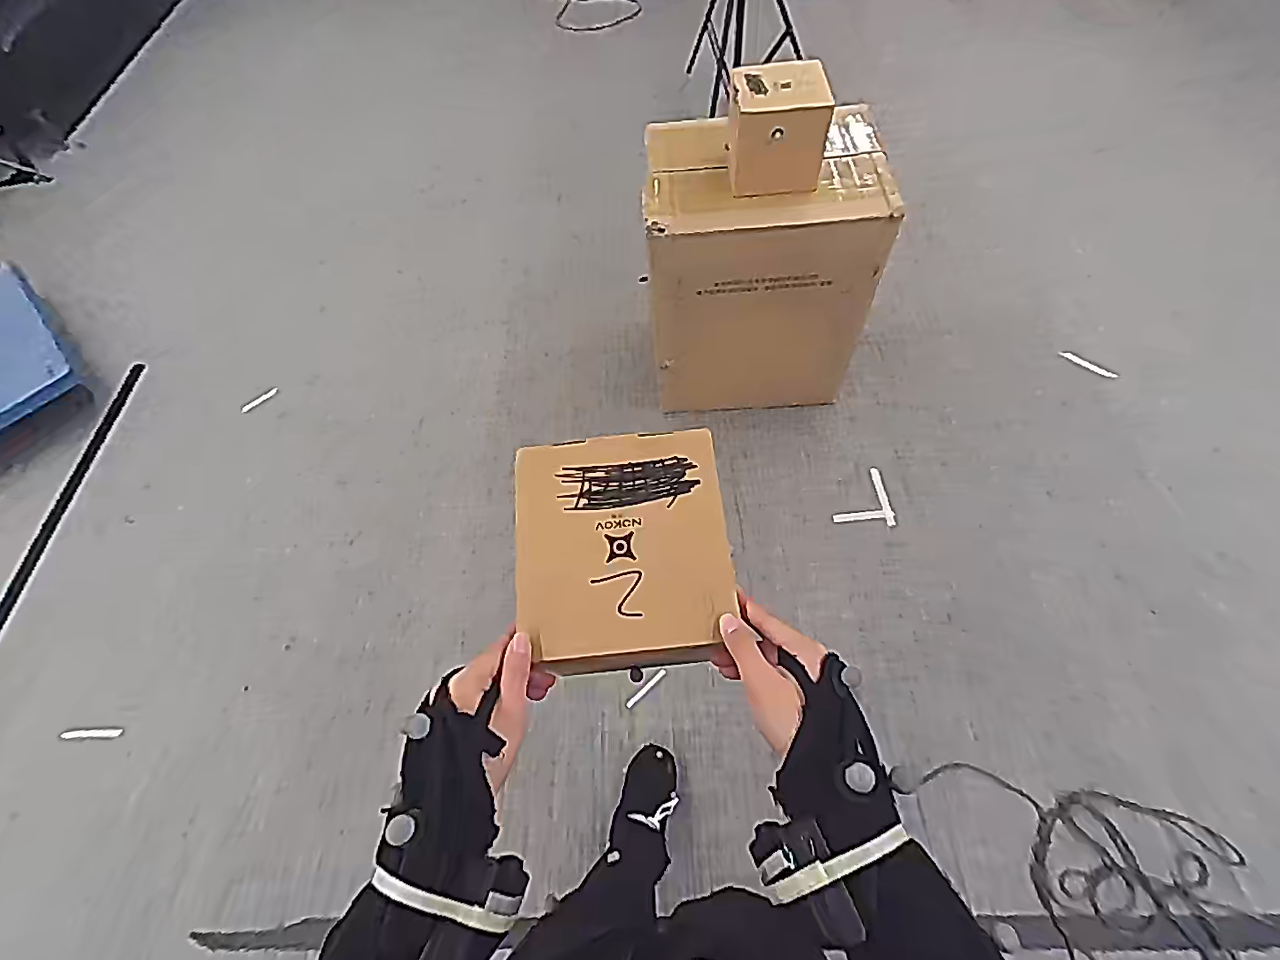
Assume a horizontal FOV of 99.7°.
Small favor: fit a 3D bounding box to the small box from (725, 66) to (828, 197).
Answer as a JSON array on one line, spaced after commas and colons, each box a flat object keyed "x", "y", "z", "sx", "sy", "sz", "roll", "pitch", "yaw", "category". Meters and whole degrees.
[{"x": 0.266, "y": -0.703, "z": 1.103, "sx": 0.179, "sy": 0.176, "sz": 0.168, "roll": -3, "pitch": 61, "yaw": 3, "category": "small box"}]
